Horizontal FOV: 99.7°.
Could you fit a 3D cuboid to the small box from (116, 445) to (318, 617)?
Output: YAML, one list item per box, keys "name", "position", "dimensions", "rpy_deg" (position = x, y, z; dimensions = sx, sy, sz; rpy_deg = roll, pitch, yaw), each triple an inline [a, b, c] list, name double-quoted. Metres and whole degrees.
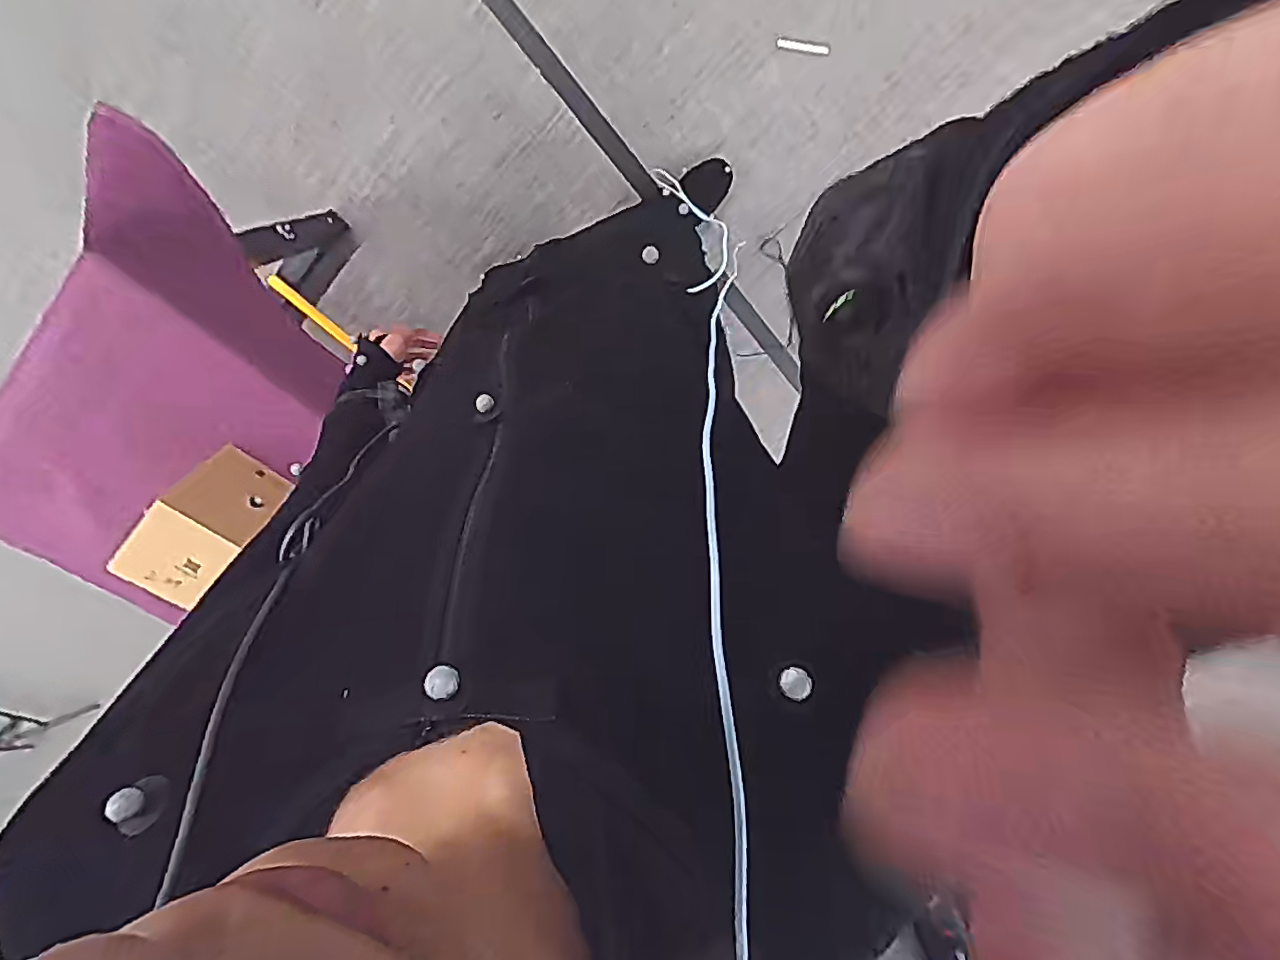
- name: "small box"
  position: [-0.654, 0.075, 0.863]
  dimensions: [0.179, 0.176, 0.168]
  rpy_deg: [-39, 116, 20]
